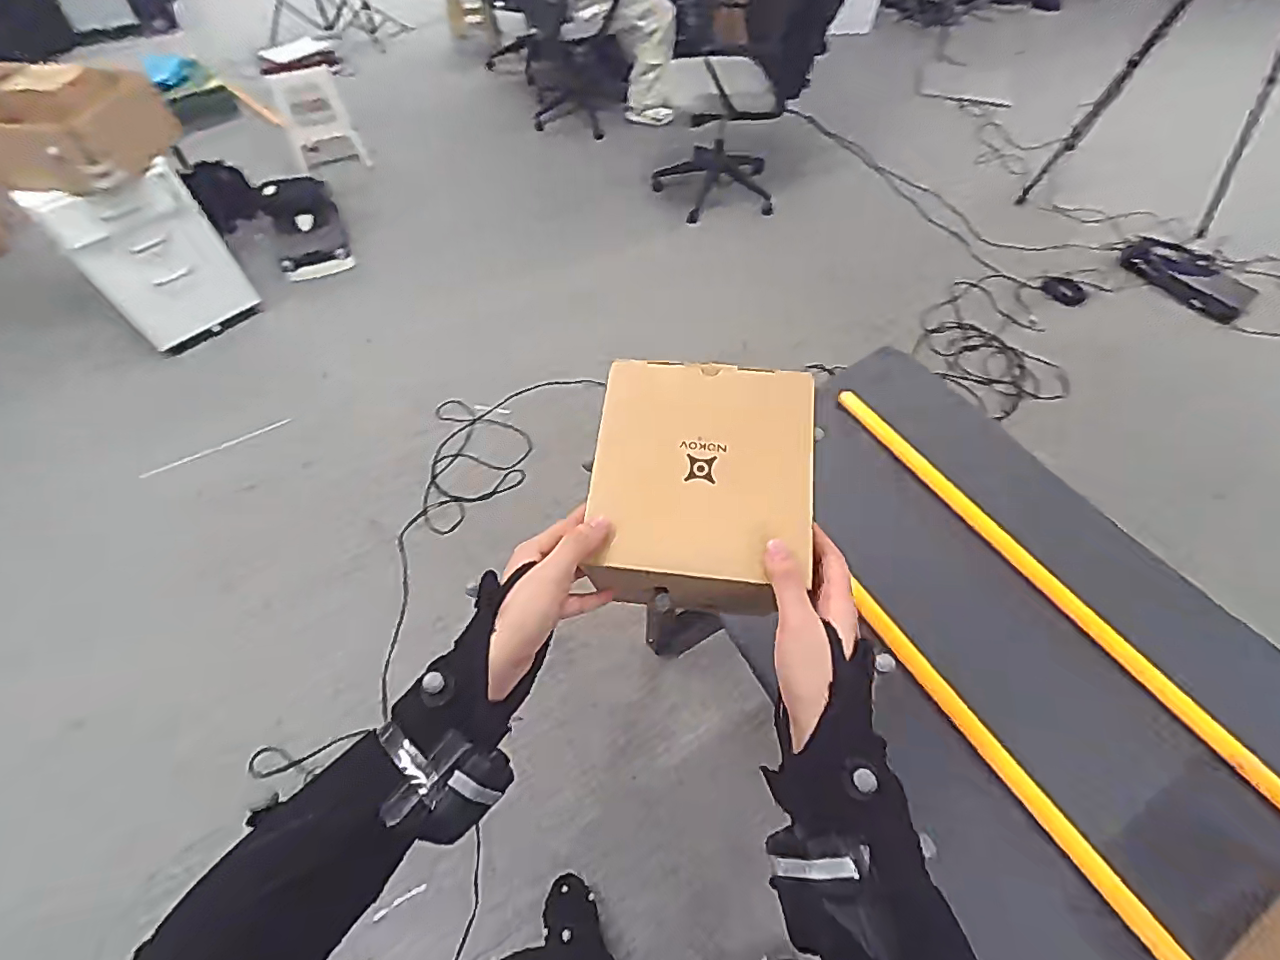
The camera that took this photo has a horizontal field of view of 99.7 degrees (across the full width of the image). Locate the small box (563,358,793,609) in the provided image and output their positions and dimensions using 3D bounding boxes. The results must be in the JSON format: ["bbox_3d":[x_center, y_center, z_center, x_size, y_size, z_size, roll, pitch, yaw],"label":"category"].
[{"bbox_3d":[0.039,0.013,0.487,0.168,0.176,0.179,4,68,5],"label":"small box"}]
